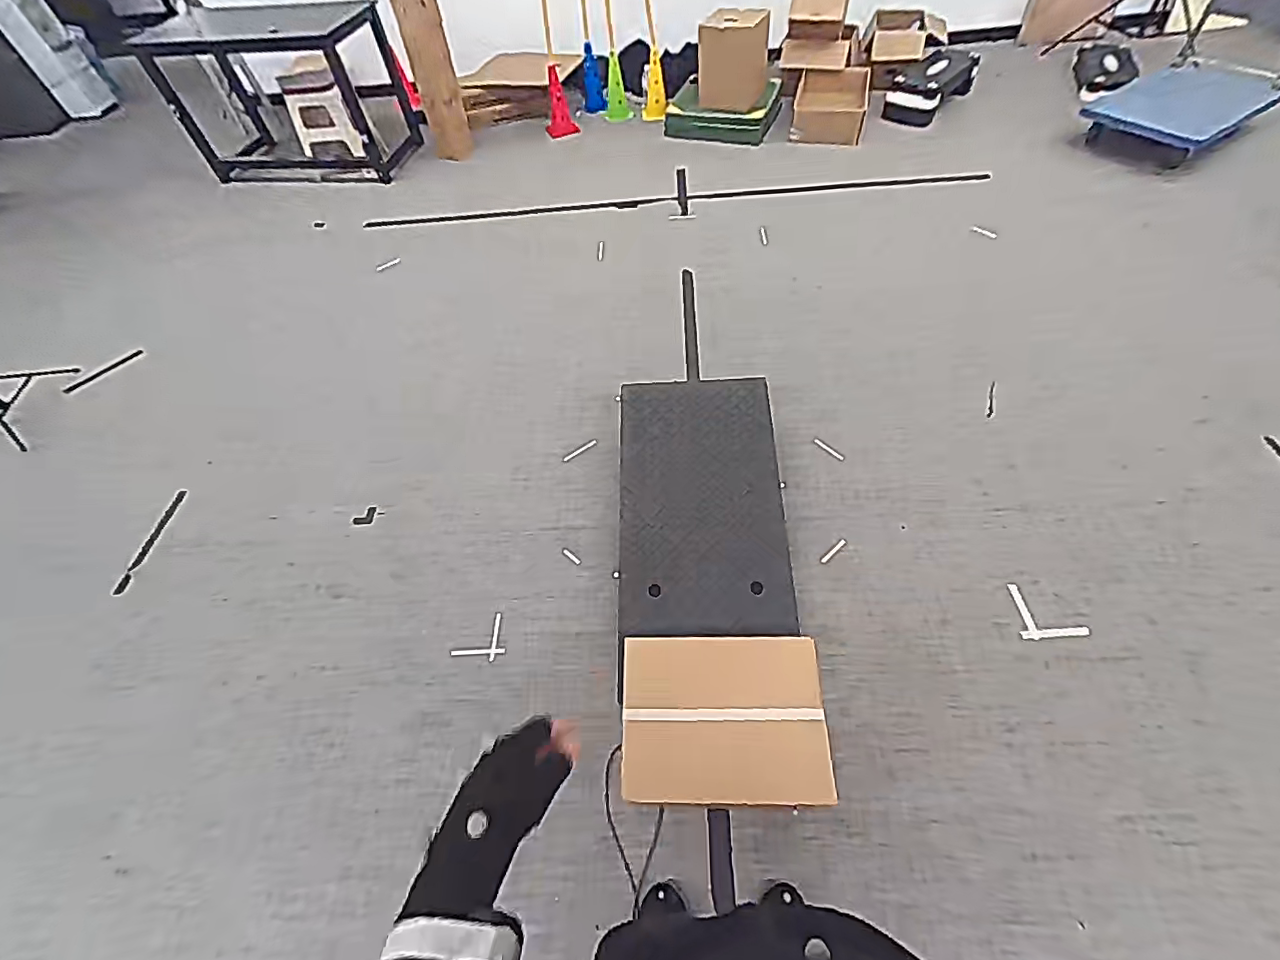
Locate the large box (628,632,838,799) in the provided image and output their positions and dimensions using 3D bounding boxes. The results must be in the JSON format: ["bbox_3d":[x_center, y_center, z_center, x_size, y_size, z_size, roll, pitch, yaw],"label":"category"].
[{"bbox_3d":[0.188,0.544,1.227,0.408,0.320,0.320,-2,58,4],"label":"large box"}]

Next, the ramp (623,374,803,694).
[{"bbox_3d":[0.194,0.106,1.622,0.509,0.206,0.991,-3,55,2],"label":"ramp"}]
